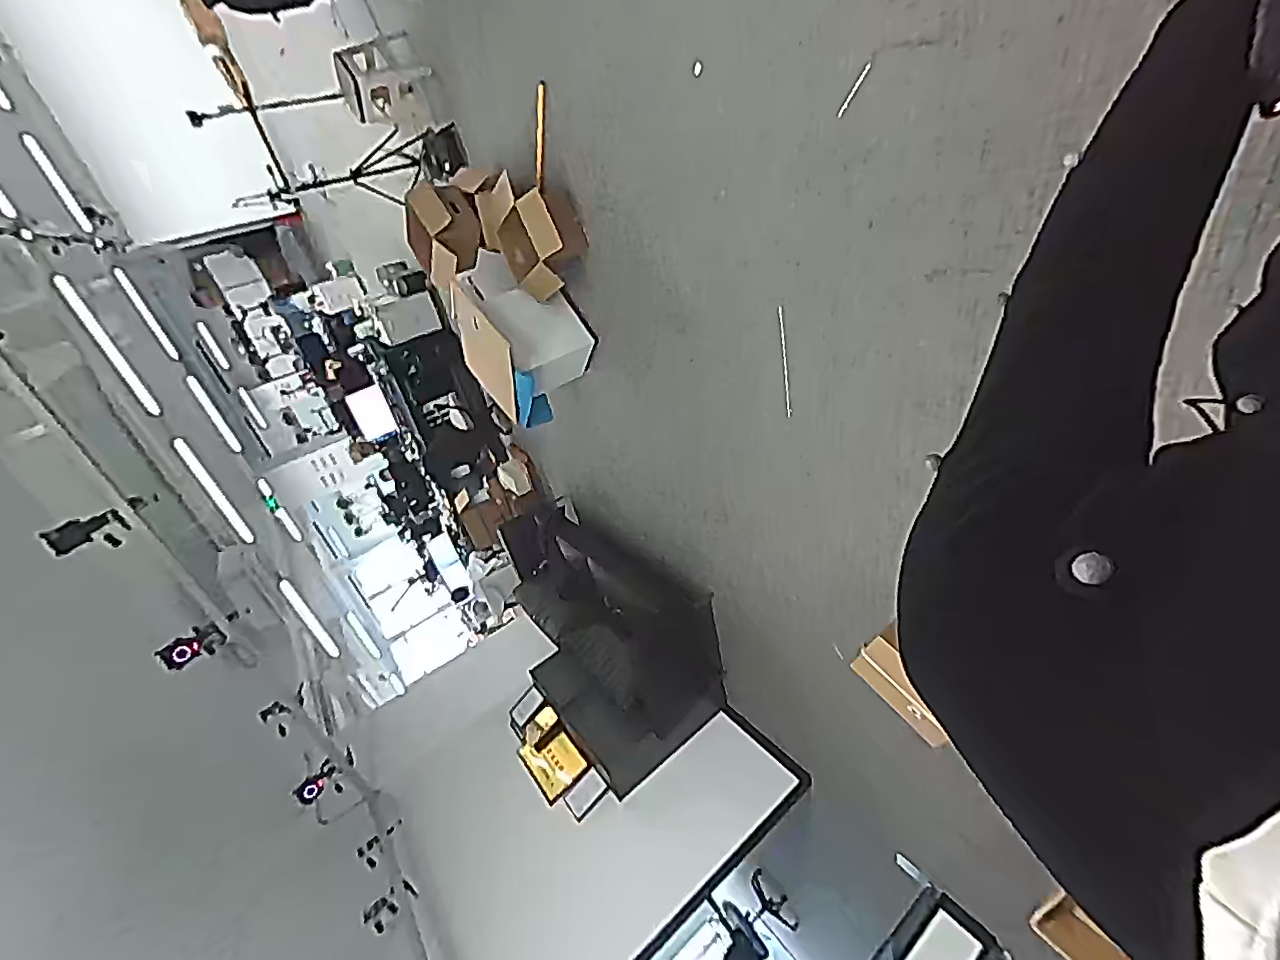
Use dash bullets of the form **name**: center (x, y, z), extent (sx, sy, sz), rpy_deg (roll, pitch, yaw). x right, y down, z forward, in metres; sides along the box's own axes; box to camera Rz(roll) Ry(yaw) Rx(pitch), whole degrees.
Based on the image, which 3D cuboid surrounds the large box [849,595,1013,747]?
- **large box**: center (1.113, 0.731, 2.099), extent (0.408, 0.320, 0.320), rpy_deg (44, 150, 28)
